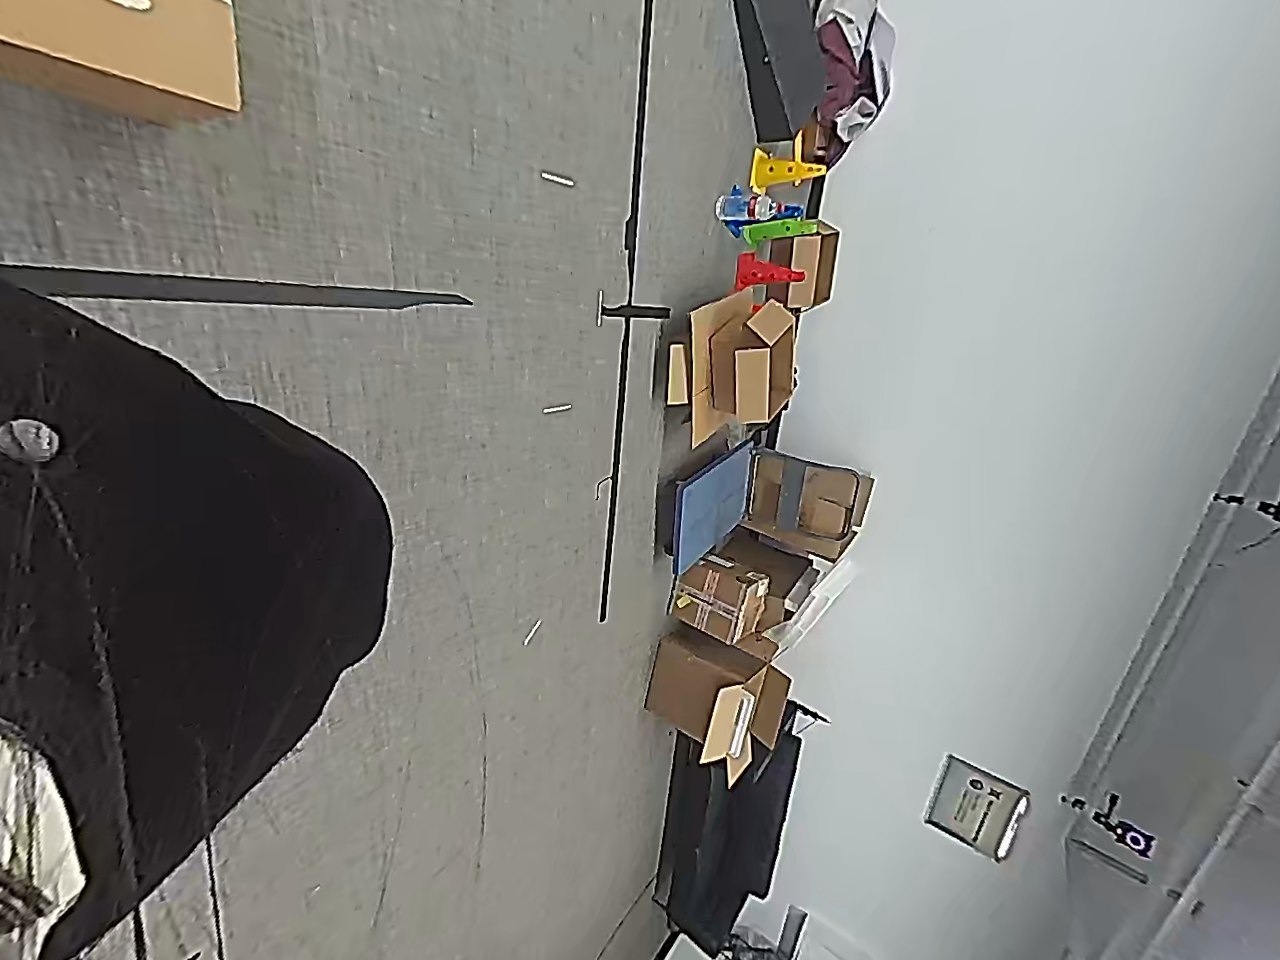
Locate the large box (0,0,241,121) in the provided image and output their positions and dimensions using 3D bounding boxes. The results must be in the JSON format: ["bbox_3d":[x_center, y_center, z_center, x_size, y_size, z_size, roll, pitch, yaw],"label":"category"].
[{"bbox_3d":[-0.877,-0.758,0.765,0.408,0.320,0.320,-19,121,-54],"label":"large box"}]
